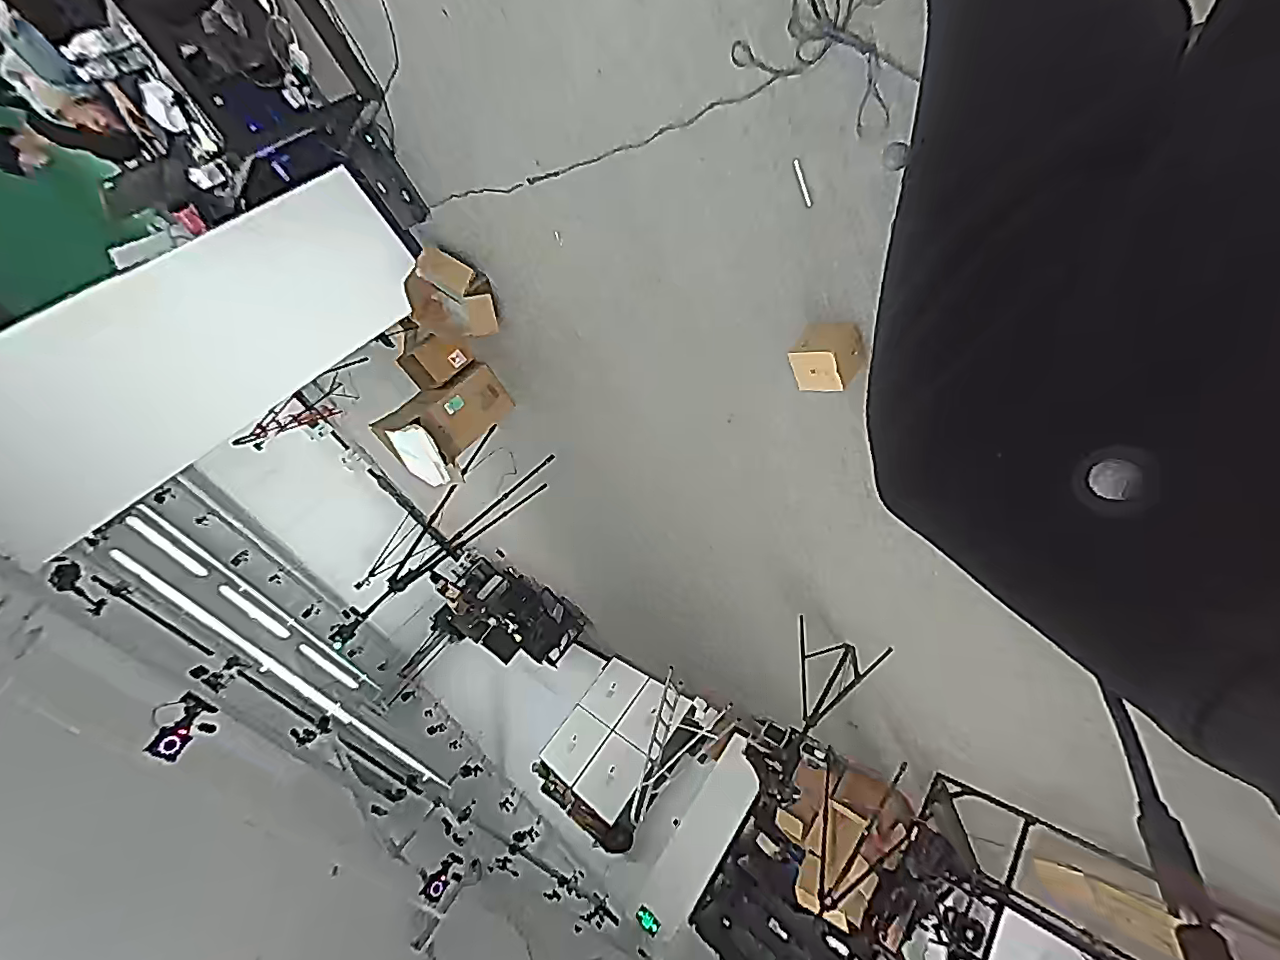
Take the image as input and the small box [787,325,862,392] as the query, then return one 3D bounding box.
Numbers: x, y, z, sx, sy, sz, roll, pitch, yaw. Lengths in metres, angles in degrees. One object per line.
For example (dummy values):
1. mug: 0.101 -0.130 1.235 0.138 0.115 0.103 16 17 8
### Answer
1. small box: 0.653 -0.428 1.906 0.179 0.176 0.168 12 143 46
